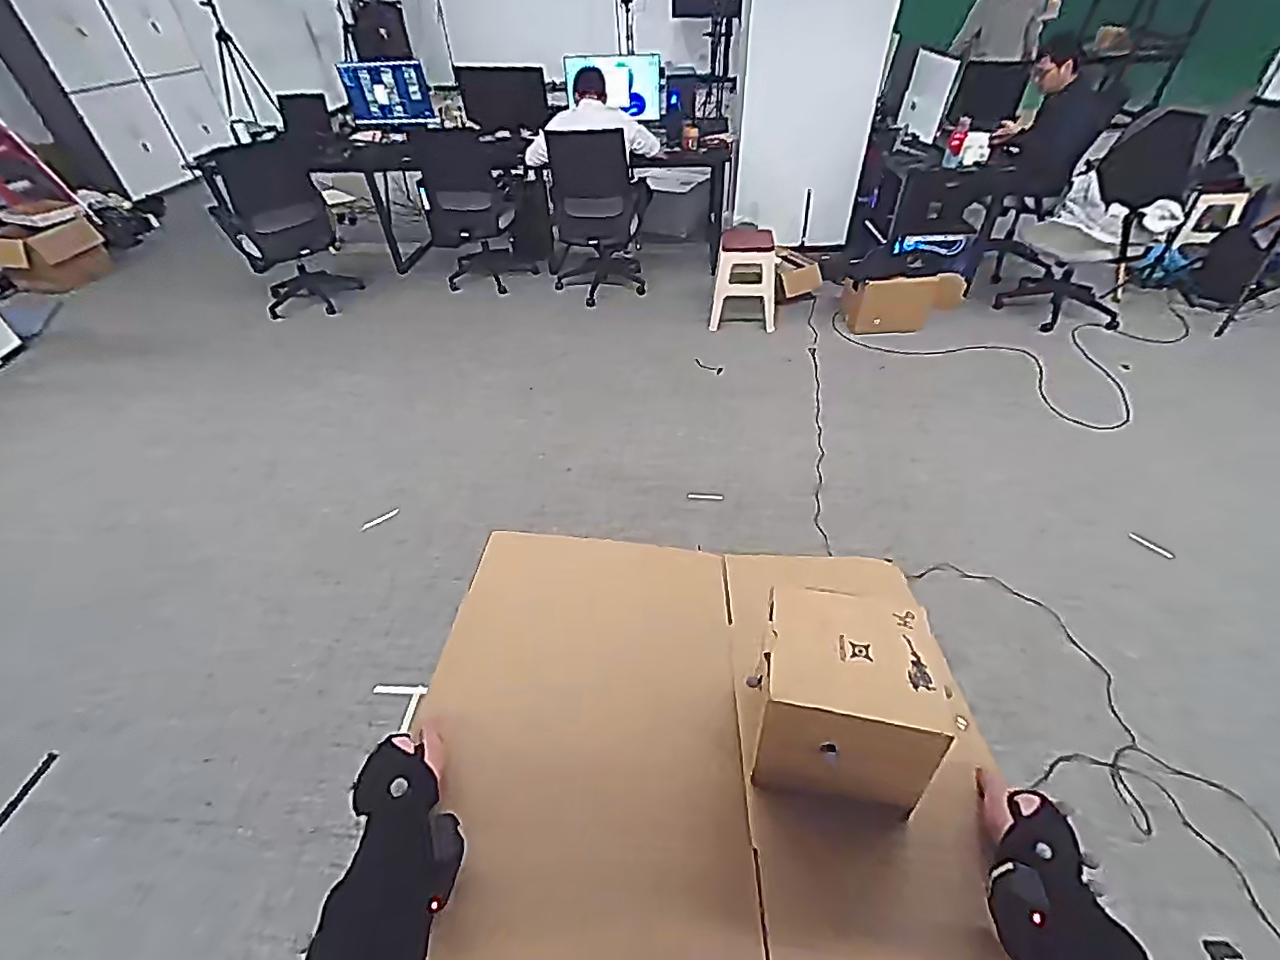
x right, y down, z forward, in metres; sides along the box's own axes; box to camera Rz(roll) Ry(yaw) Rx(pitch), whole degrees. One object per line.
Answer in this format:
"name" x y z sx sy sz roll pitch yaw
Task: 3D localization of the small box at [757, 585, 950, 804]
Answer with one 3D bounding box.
"small box" 0.234 0.251 0.640 0.179 0.176 0.168 6 37 12
